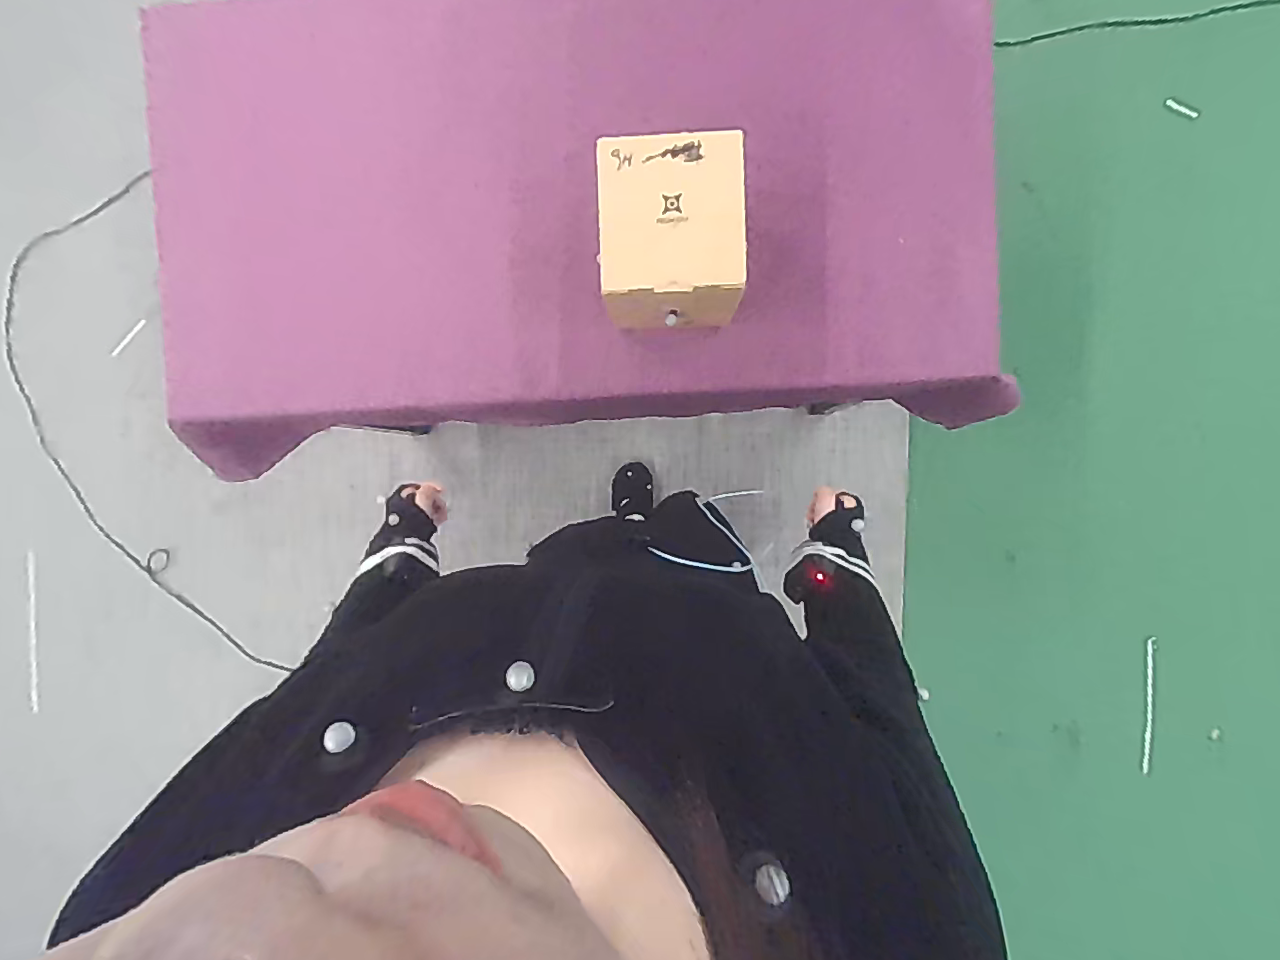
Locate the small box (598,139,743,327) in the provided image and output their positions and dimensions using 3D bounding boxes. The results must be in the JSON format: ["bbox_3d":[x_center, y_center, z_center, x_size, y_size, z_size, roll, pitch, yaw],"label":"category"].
[{"bbox_3d":[0.038,-0.297,0.690,0.168,0.176,0.179,-1,92,2],"label":"small box"}]
